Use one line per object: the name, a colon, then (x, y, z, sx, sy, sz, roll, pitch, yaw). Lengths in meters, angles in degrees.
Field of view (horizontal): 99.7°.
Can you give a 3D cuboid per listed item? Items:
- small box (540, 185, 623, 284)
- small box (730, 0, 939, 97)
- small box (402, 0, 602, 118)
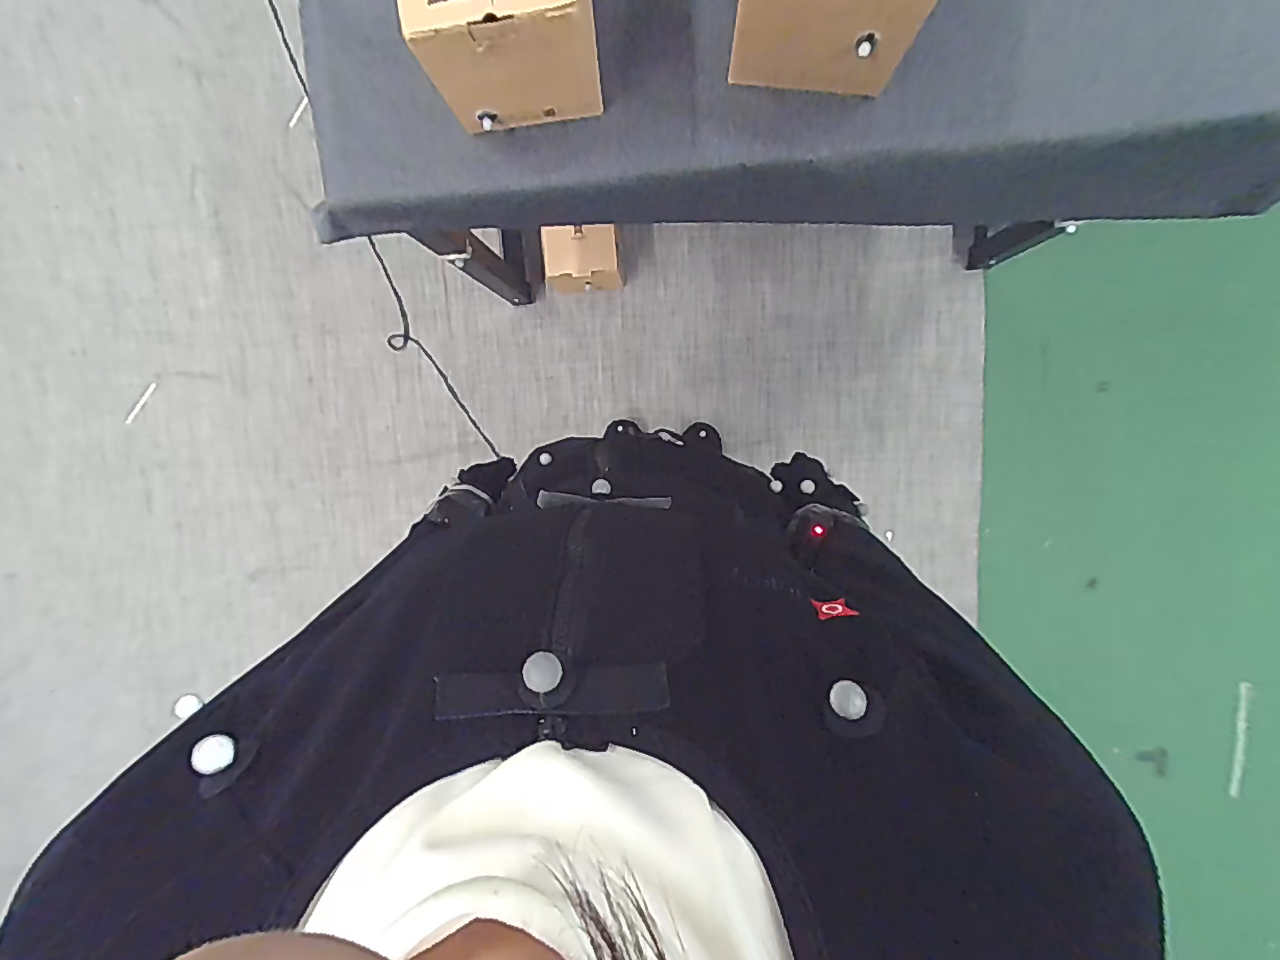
small box: (-0.133, -0.574, 1.290, 0.168, 0.176, 0.179, -3, 97, 4)
small box: (0.195, -0.522, 0.543, 0.179, 0.176, 0.168, 8, 96, 3)
small box: (-0.135, -0.508, 0.560, 0.168, 0.176, 0.179, -5, 95, 3)
